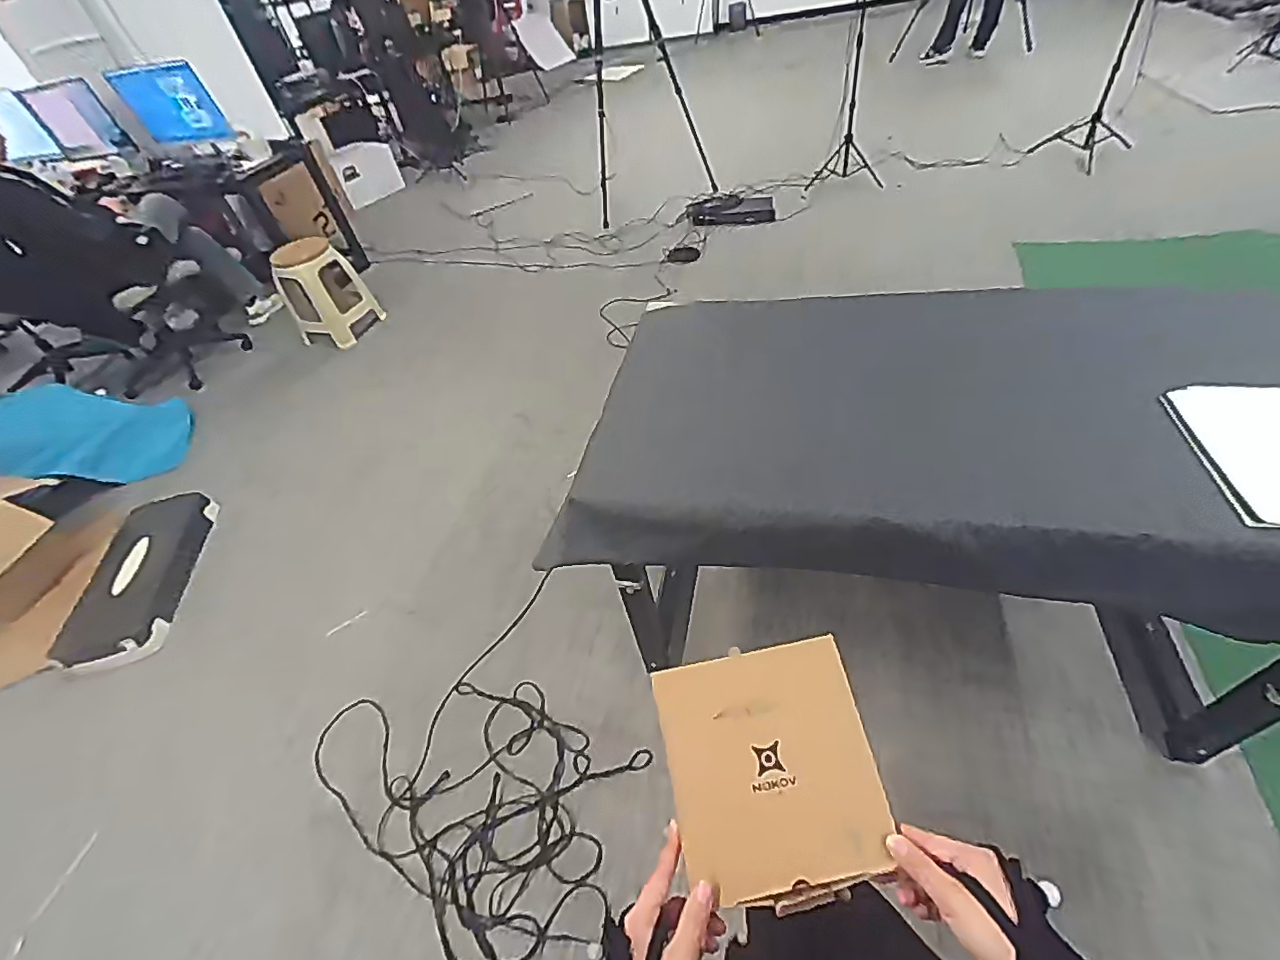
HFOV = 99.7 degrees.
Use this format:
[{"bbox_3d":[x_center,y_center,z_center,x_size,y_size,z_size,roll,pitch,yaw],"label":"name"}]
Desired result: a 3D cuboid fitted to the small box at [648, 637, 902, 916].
[{"bbox_3d":[0.106,0.260,0.506,0.168,0.176,0.179,-11,65,-3],"label":"small box"}]
